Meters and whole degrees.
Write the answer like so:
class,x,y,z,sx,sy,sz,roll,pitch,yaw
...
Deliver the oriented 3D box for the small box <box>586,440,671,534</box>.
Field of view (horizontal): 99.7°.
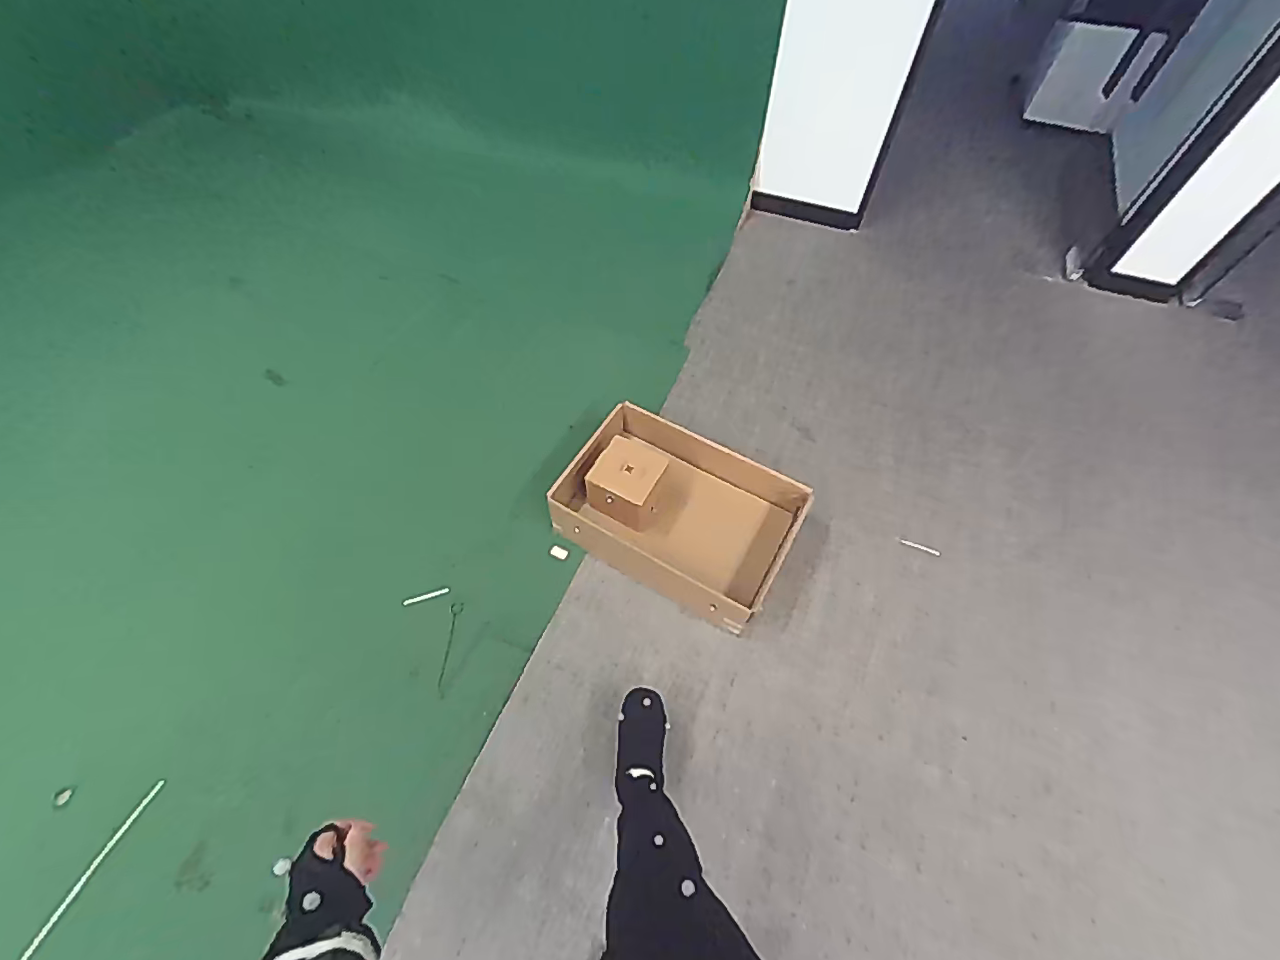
class,x,y,z,sx,sy,sz,roll,pitch,yaw
small box,-0.031,0.025,1.515,0.179,0.176,0.168,27,63,15
